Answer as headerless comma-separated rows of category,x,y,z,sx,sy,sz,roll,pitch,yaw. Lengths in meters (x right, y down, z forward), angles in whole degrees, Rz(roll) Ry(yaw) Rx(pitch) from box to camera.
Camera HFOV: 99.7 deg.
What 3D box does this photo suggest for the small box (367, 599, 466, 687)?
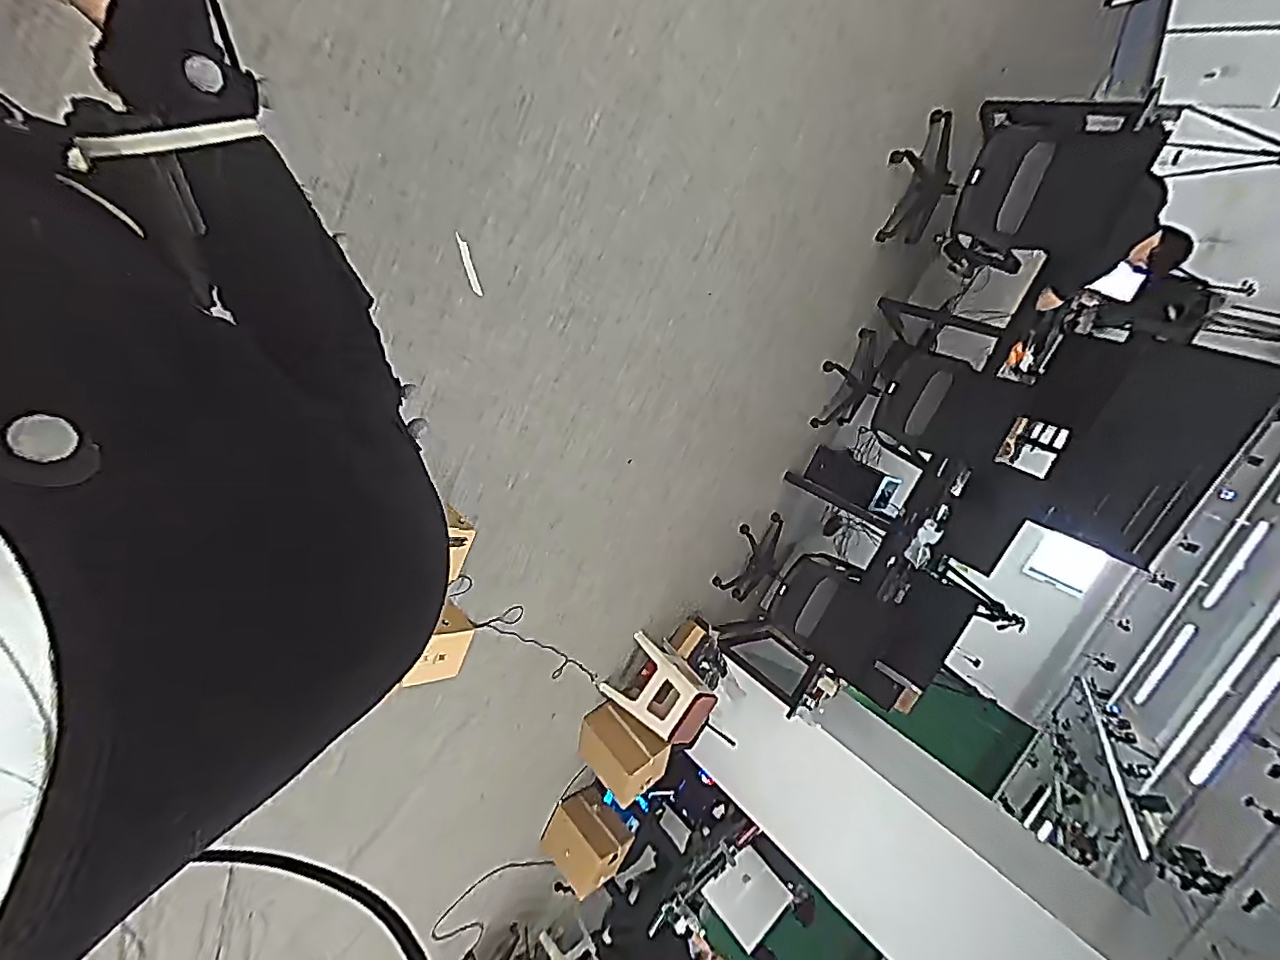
small box,-0.637,0.454,1.536,0.179,0.176,0.168,11,107,-52
